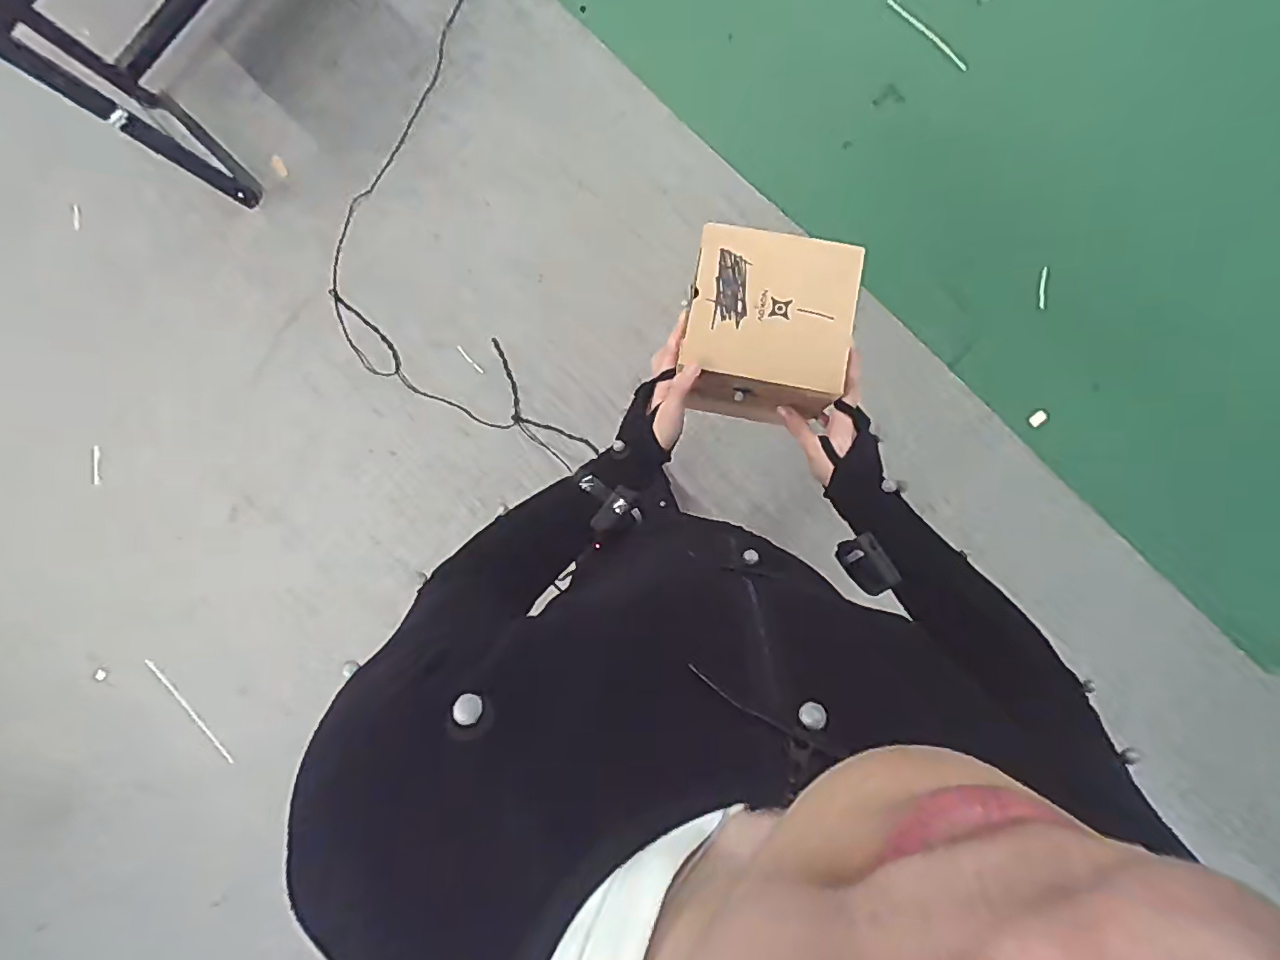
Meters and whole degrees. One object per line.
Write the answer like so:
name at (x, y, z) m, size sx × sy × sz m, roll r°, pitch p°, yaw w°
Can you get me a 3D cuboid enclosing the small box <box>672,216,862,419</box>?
small box at (0.137, -0.179, 0.644) m, size 0.179 × 0.176 × 0.168 m, roll 10°, pitch 83°, yaw 2°
